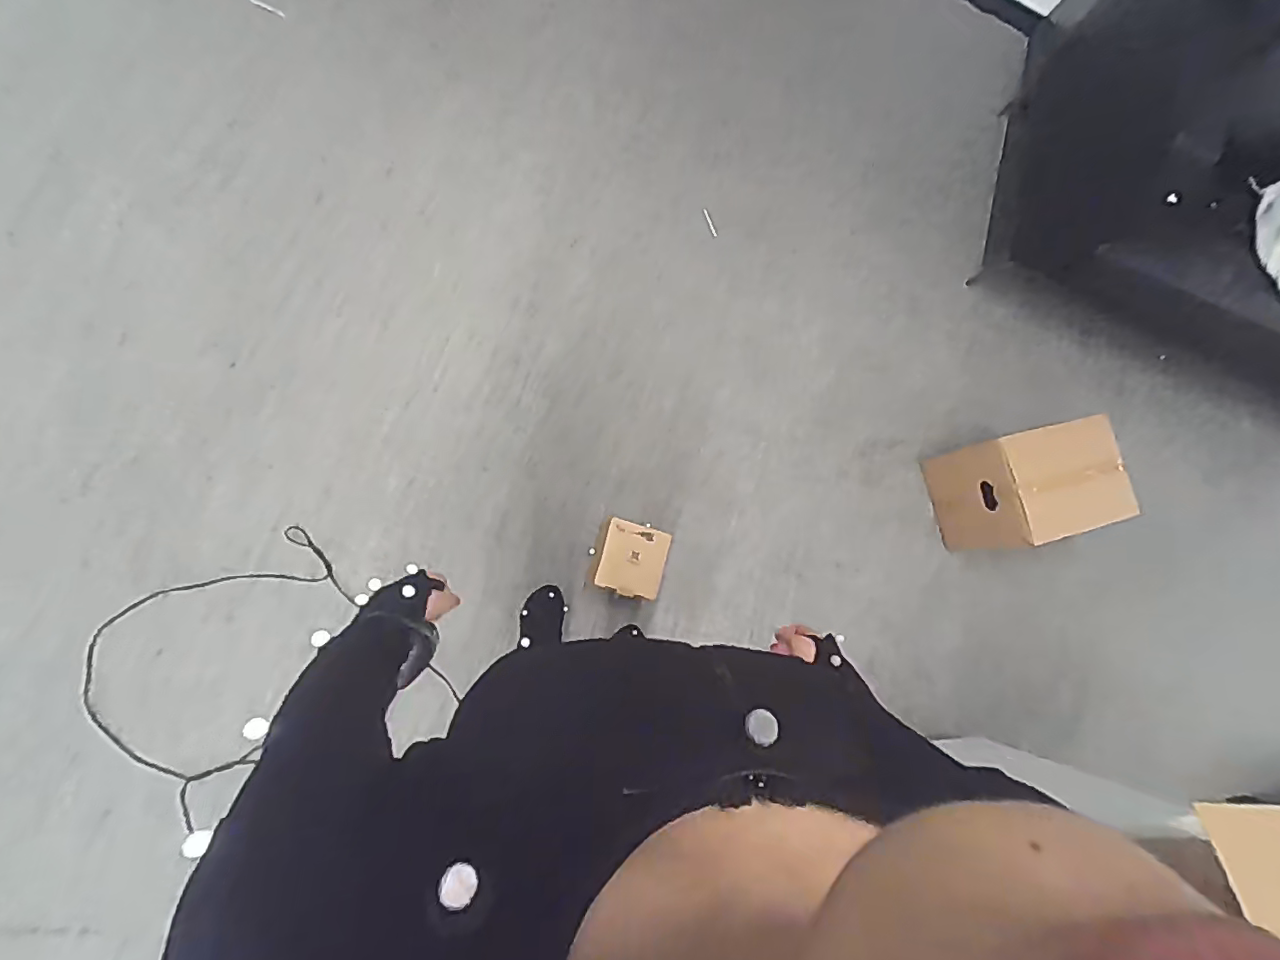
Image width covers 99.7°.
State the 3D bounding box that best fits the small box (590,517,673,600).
[{"bbox_3d":[-0.030,0.211,1.442,0.168,0.176,0.179,18,77,-10],"label":"small box"}]
